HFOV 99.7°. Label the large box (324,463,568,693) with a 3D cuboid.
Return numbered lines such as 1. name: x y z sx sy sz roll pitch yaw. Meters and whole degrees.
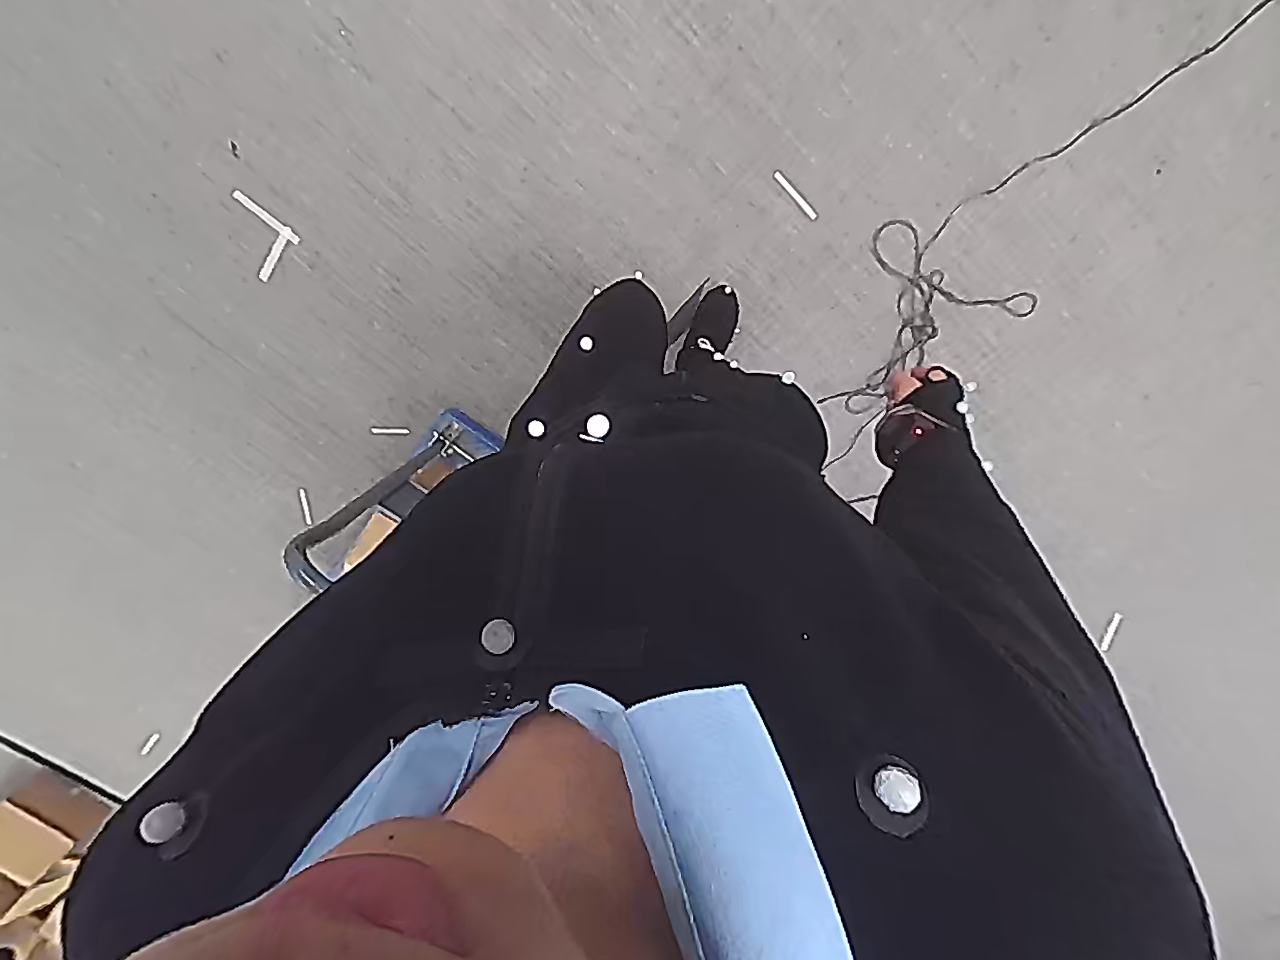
1. large box: -0.442 0.226 1.313 0.408 0.320 0.320 35 109 -10
